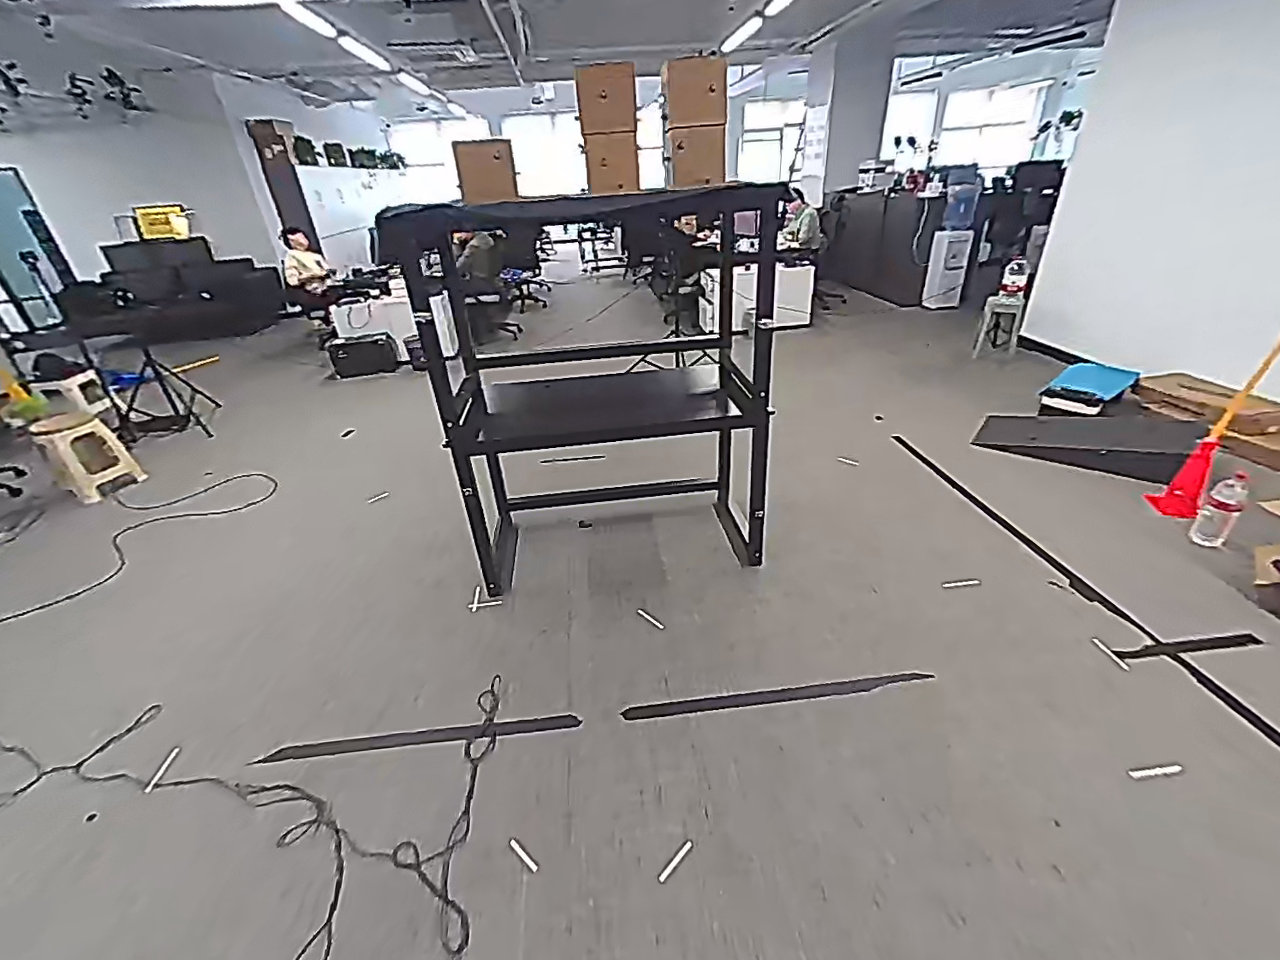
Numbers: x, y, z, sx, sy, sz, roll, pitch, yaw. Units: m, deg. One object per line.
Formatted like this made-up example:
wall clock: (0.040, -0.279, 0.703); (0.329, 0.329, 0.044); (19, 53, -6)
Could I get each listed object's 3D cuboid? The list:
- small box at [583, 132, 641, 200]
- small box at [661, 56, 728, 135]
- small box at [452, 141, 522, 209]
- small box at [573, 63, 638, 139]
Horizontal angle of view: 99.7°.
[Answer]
small box: (-0.086, -0.988, 1.710); (0.168, 0.176, 0.179); (-5, 28, -1)
small box: (0.162, -1.148, 1.626); (0.179, 0.176, 0.168); (-7, 27, -2)
small box: (-0.464, -0.937, 1.665); (0.179, 0.176, 0.168); (-8, 28, -7)
small box: (-0.098, -1.127, 1.624); (0.179, 0.176, 0.168); (-6, 27, 0)
